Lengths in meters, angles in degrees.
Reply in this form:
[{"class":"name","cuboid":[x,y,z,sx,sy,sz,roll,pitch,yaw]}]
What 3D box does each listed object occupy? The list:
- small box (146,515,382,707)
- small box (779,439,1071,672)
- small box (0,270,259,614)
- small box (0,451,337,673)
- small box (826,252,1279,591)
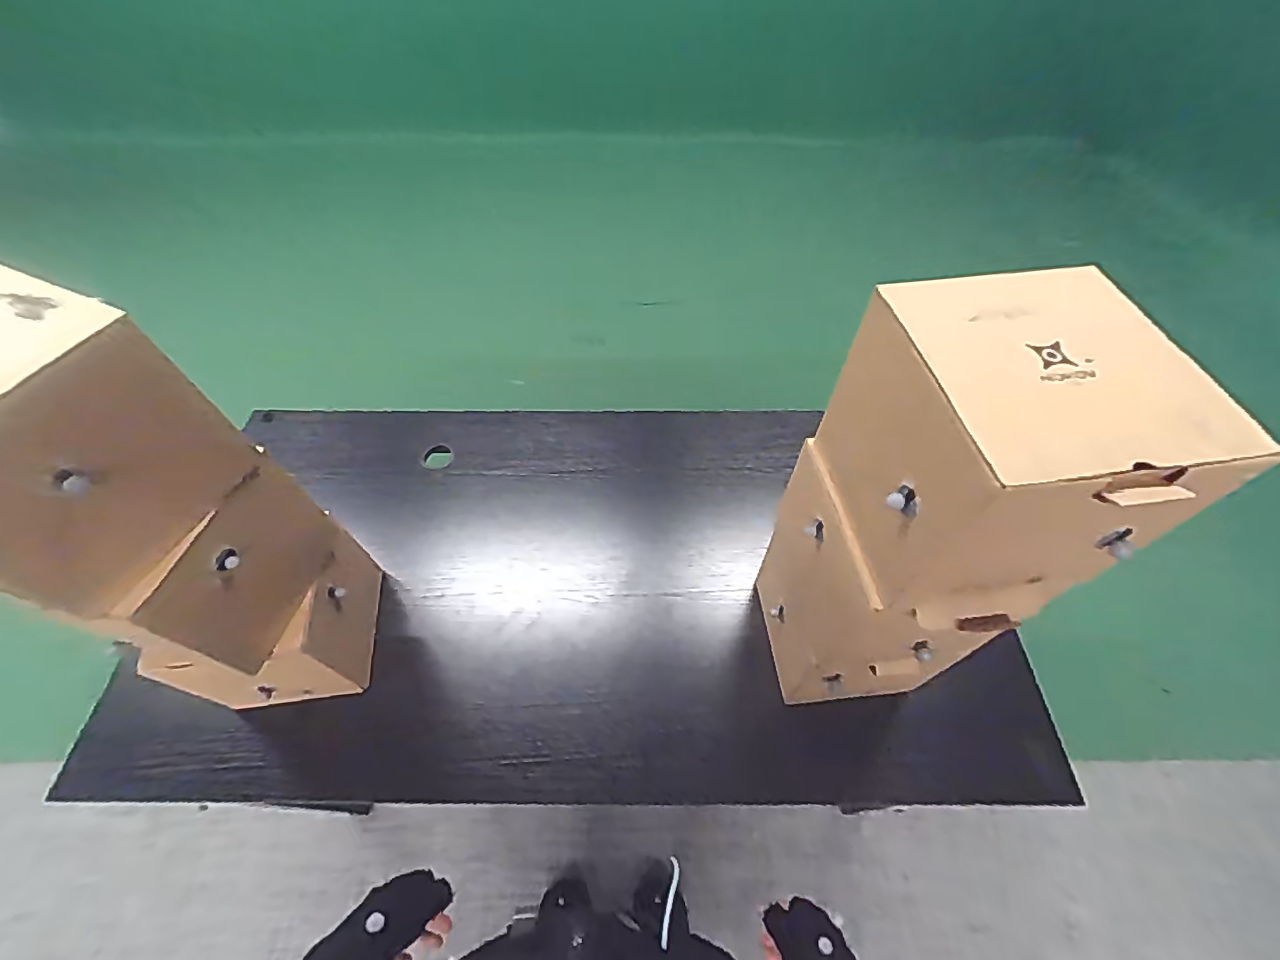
[{"class":"small box","cuboid":[-0.442,0.166,0.676,0.168,0.176,0.179,-7,57,-5]},{"class":"small box","cuboid":[0.250,0.070,0.534,0.168,0.176,0.179,-7,56,-4]},{"class":"small box","cuboid":[-0.448,-0.024,0.407,0.168,0.176,0.179,20,60,12]},{"class":"small box","cuboid":[-0.446,0.074,0.540,0.168,0.176,0.179,11,56,7]},{"class":"small box","cuboid":[0.255,-0.032,0.386,0.168,0.176,0.179,-7,55,-4]}]
